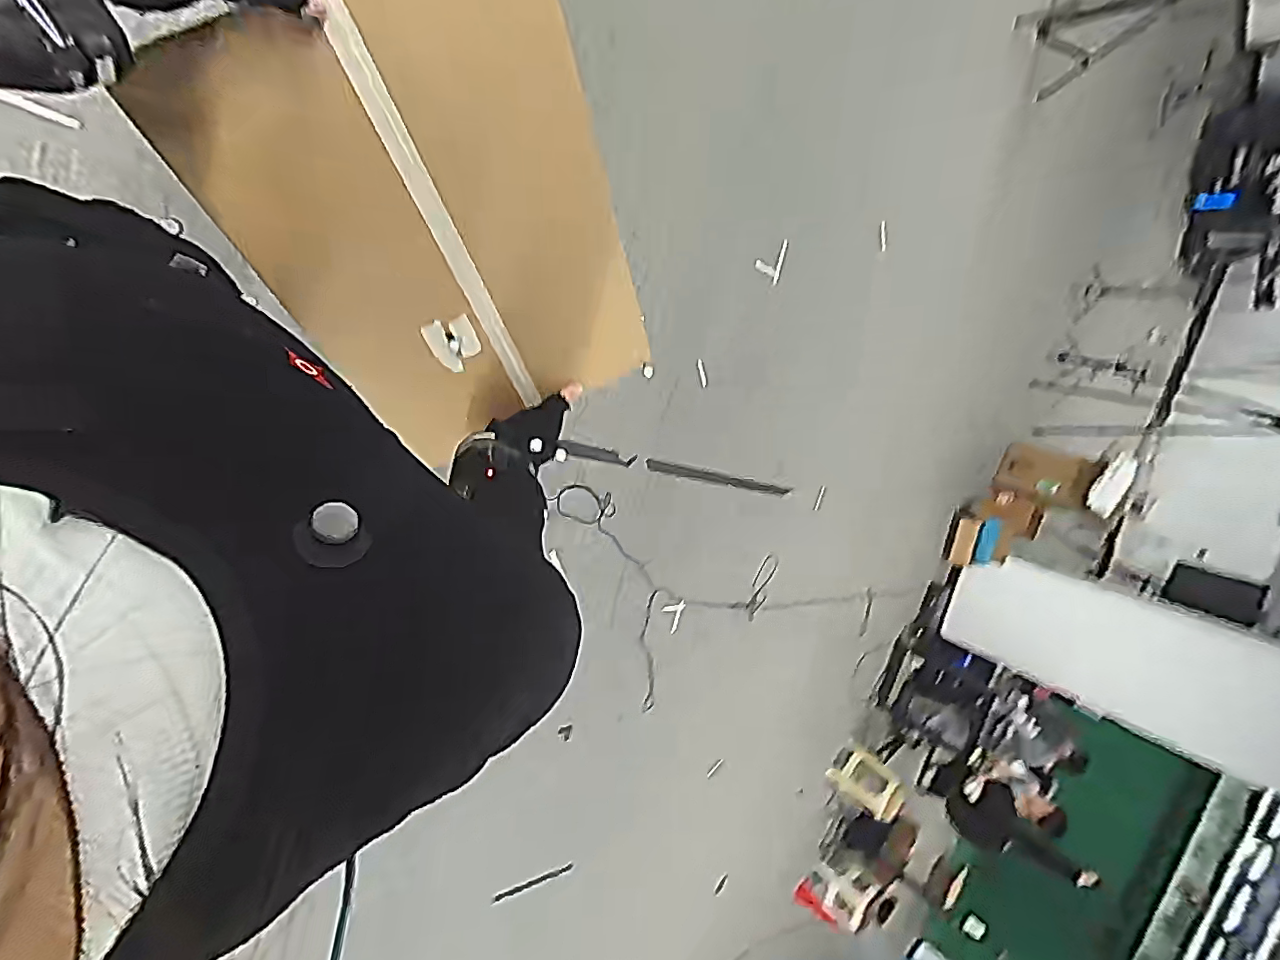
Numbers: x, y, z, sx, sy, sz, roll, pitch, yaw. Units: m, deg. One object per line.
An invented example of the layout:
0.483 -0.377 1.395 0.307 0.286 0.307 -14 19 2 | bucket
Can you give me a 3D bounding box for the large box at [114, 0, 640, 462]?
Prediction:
-0.238 -0.305 0.619 0.320 0.320 0.408 -26 139 -7 | large box
